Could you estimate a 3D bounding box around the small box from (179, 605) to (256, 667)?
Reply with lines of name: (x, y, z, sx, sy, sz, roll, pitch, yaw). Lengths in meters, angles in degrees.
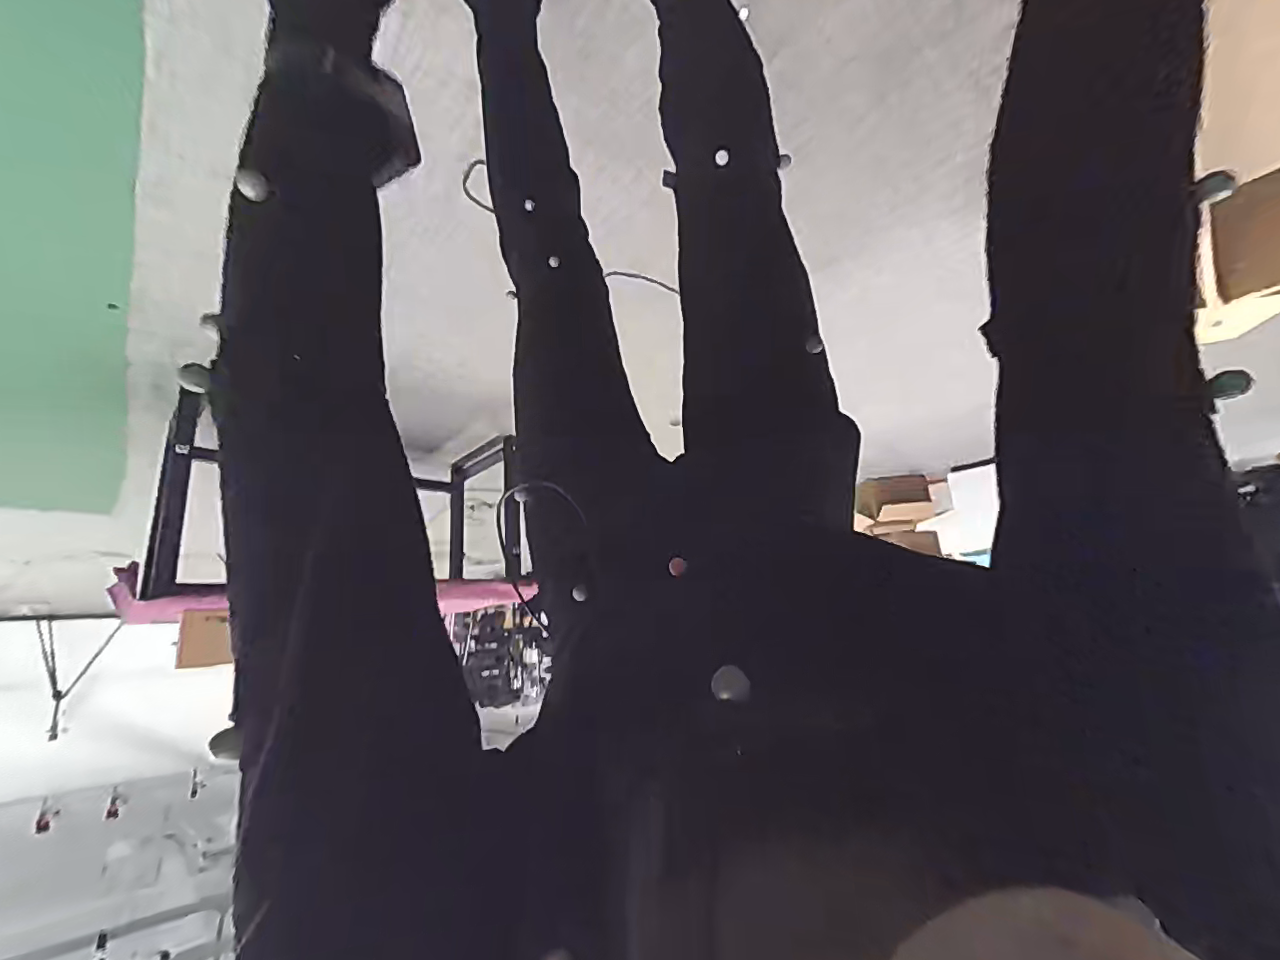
small box: (-1.296, 0.474, 1.660, 0.168, 0.176, 0.179, 7, 162, -40)
